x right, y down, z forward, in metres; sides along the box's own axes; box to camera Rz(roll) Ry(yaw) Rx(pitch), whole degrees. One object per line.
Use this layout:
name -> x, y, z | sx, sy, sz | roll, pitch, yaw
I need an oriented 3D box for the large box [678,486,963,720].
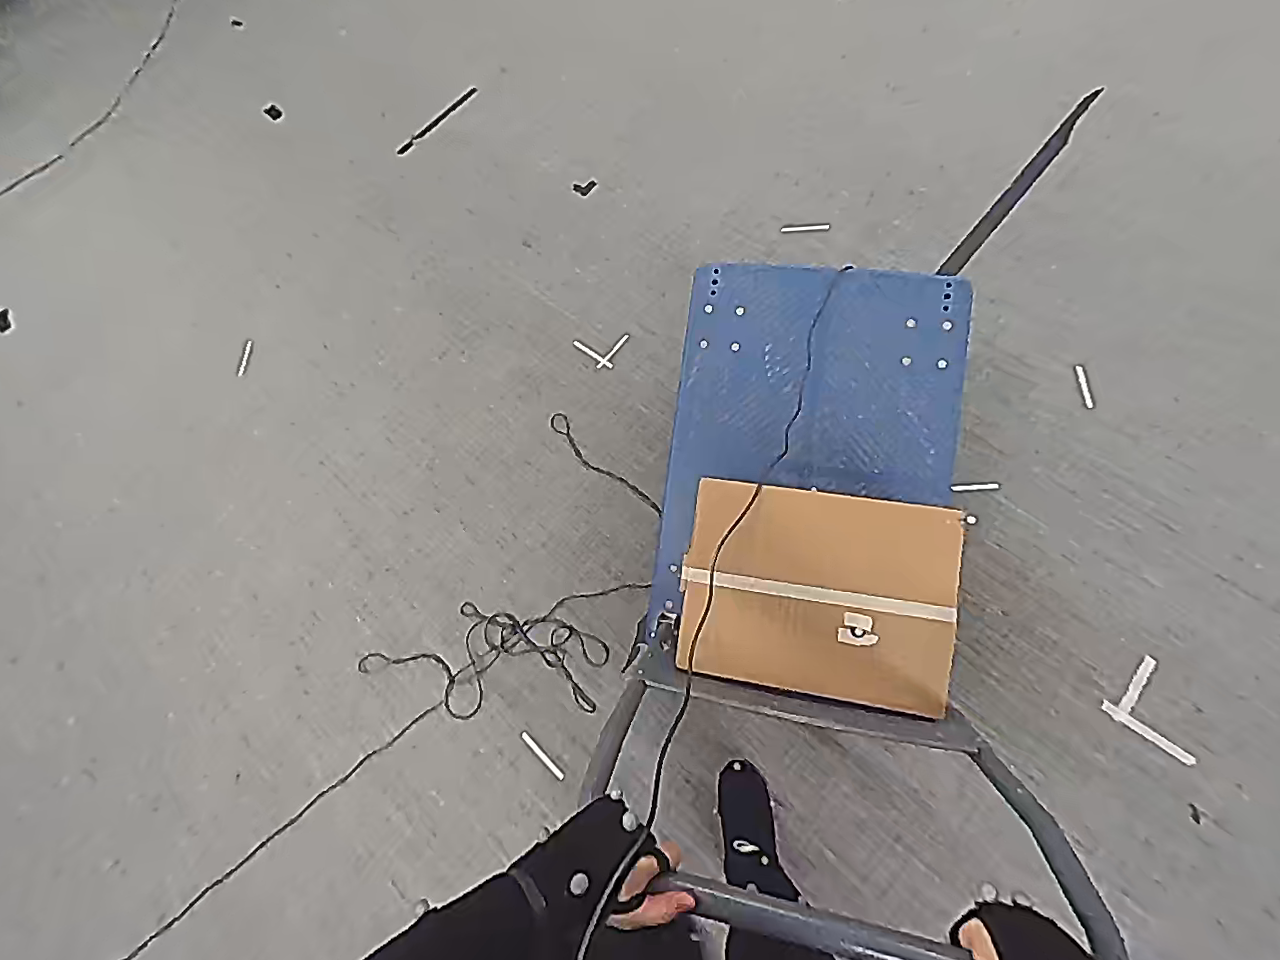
large box -> 0.295, 0.193, 0.982 | 0.408, 0.320, 0.320 | 8, 88, 10
